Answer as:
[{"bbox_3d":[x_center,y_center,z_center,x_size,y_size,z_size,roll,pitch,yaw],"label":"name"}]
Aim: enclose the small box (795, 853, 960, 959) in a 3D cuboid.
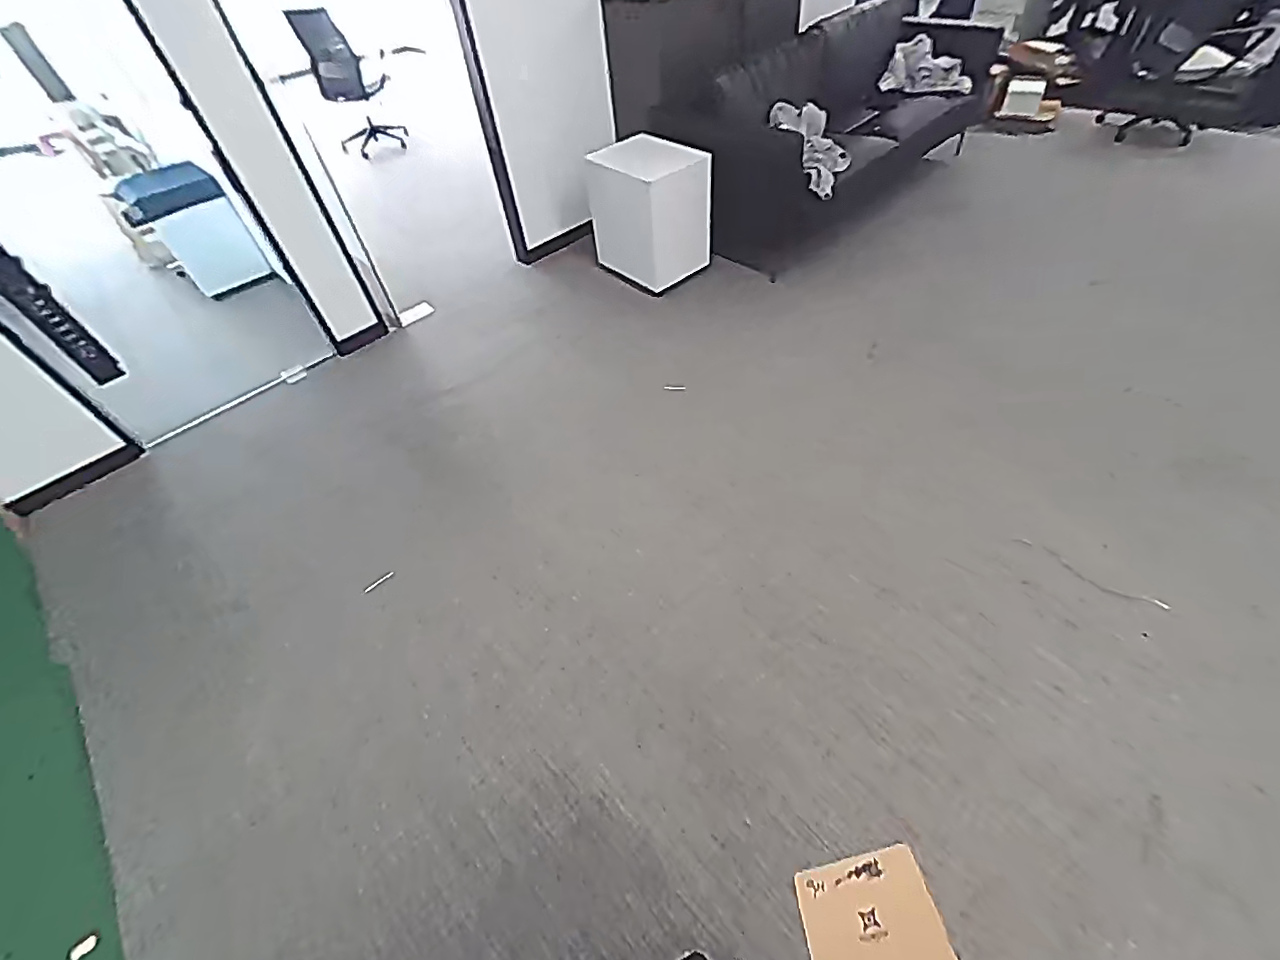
[{"bbox_3d":[0.323,0.633,0.683,0.168,0.176,0.179,-26,14,9],"label":"small box"}]
